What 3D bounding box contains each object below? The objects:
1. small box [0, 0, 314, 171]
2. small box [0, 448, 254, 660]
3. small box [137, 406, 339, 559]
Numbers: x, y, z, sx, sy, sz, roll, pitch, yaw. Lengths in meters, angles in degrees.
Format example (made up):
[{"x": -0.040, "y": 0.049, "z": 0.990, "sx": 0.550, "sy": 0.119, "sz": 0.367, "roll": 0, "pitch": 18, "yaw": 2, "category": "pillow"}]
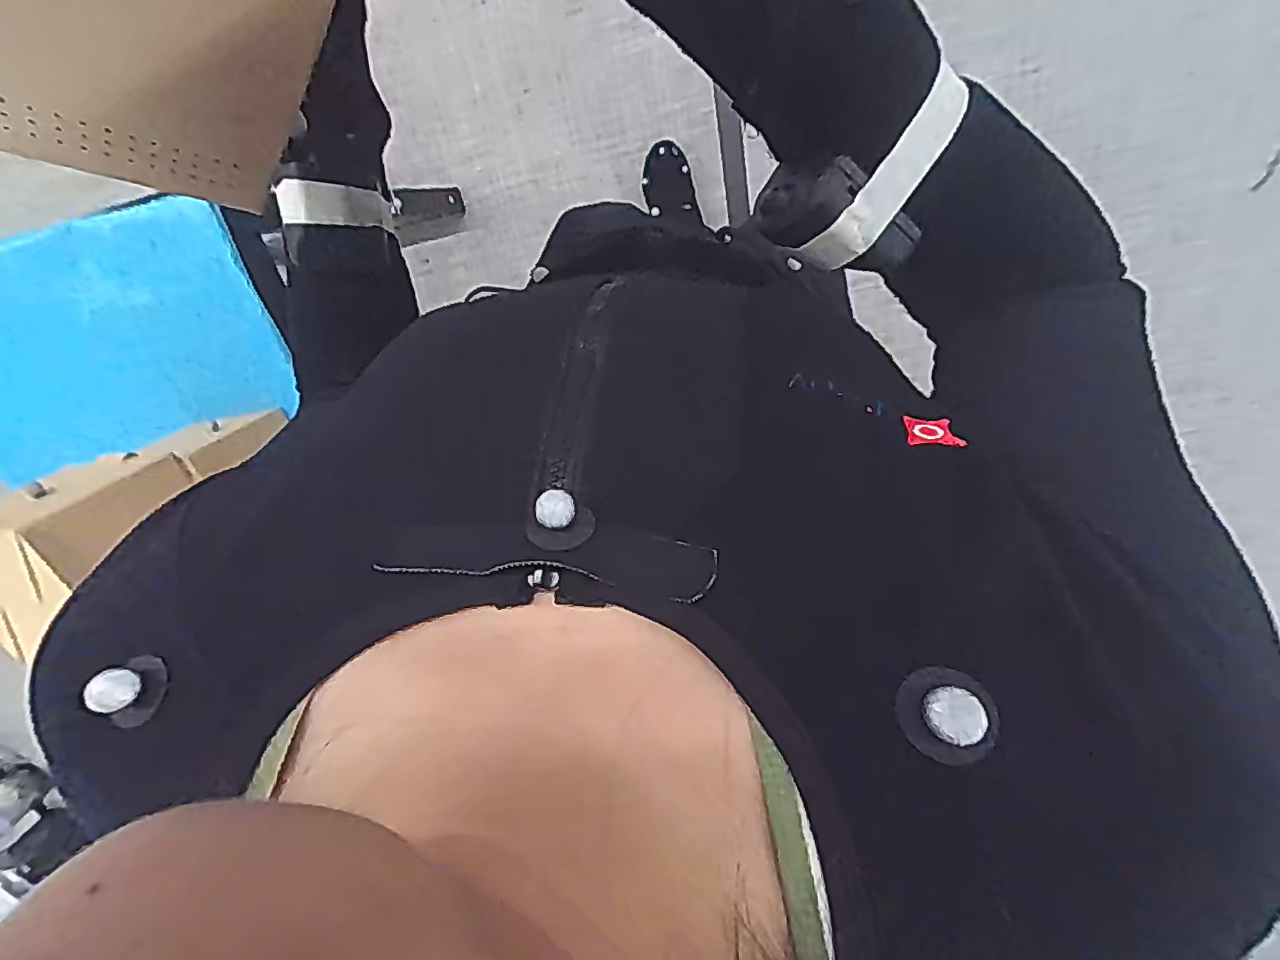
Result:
[{"x": -0.200, "y": -0.228, "z": 0.151, "sx": 0.176, "sy": 0.179, "sz": 0.168, "roll": -22, "pitch": 78, "yaw": 44, "category": "small box"}, {"x": -0.622, "y": 0.085, "z": 0.632, "sx": 0.168, "sy": 0.176, "sz": 0.179, "roll": -6, "pitch": 120, "yaw": 14, "category": "small box"}, {"x": -0.591, "y": 0.011, "z": 0.776, "sx": 0.179, "sy": 0.176, "sz": 0.168, "roll": -8, "pitch": 117, "yaw": 14, "category": "small box"}]
